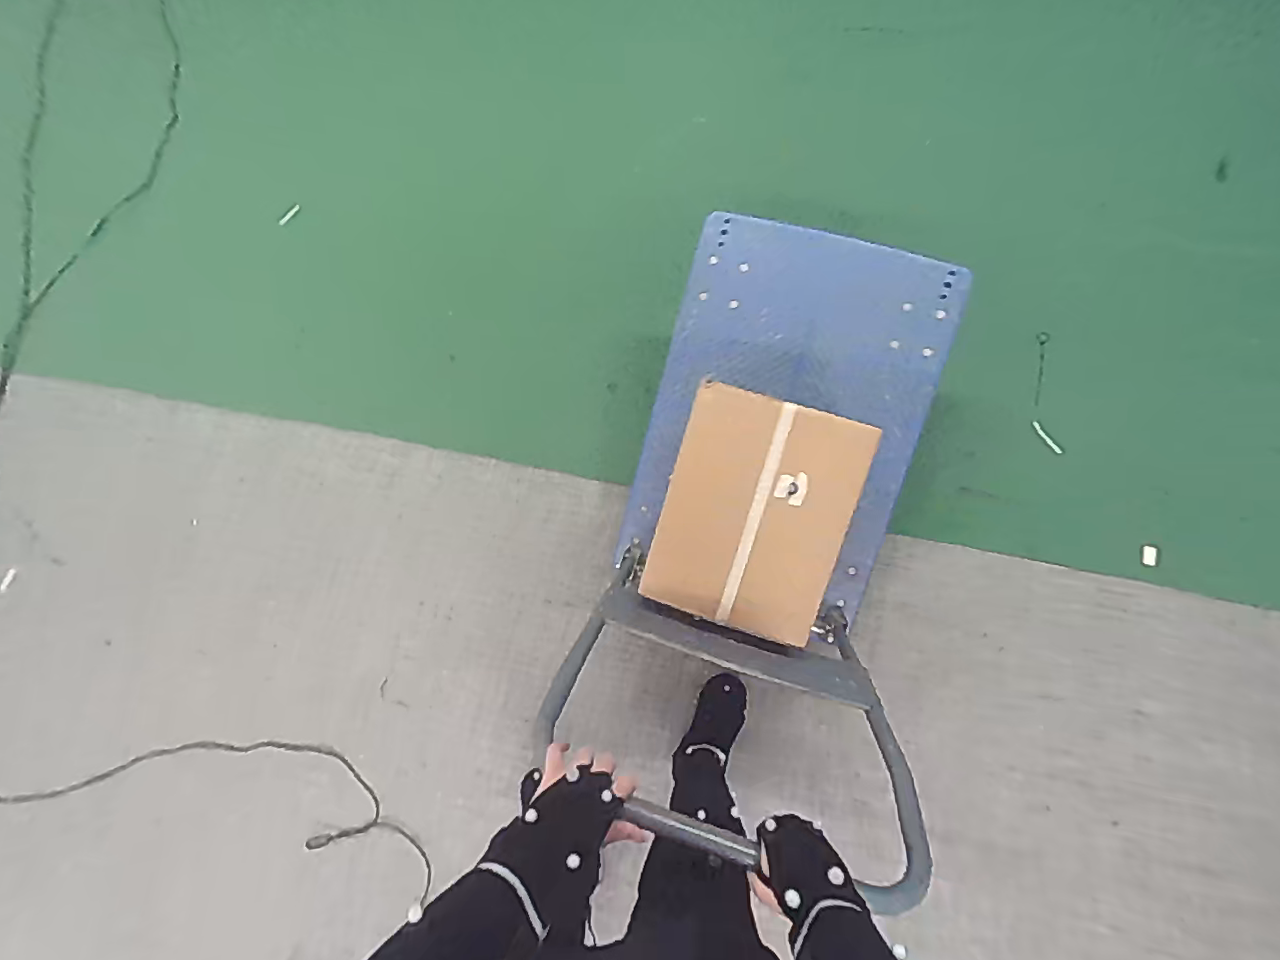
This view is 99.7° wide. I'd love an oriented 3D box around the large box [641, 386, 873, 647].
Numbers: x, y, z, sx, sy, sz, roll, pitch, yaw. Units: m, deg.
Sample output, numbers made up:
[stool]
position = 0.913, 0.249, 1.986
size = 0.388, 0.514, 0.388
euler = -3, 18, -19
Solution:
[large box]
position = 0.220, 0.055, 1.099
size = 0.320, 0.320, 0.408
euler = 18, 97, 6
